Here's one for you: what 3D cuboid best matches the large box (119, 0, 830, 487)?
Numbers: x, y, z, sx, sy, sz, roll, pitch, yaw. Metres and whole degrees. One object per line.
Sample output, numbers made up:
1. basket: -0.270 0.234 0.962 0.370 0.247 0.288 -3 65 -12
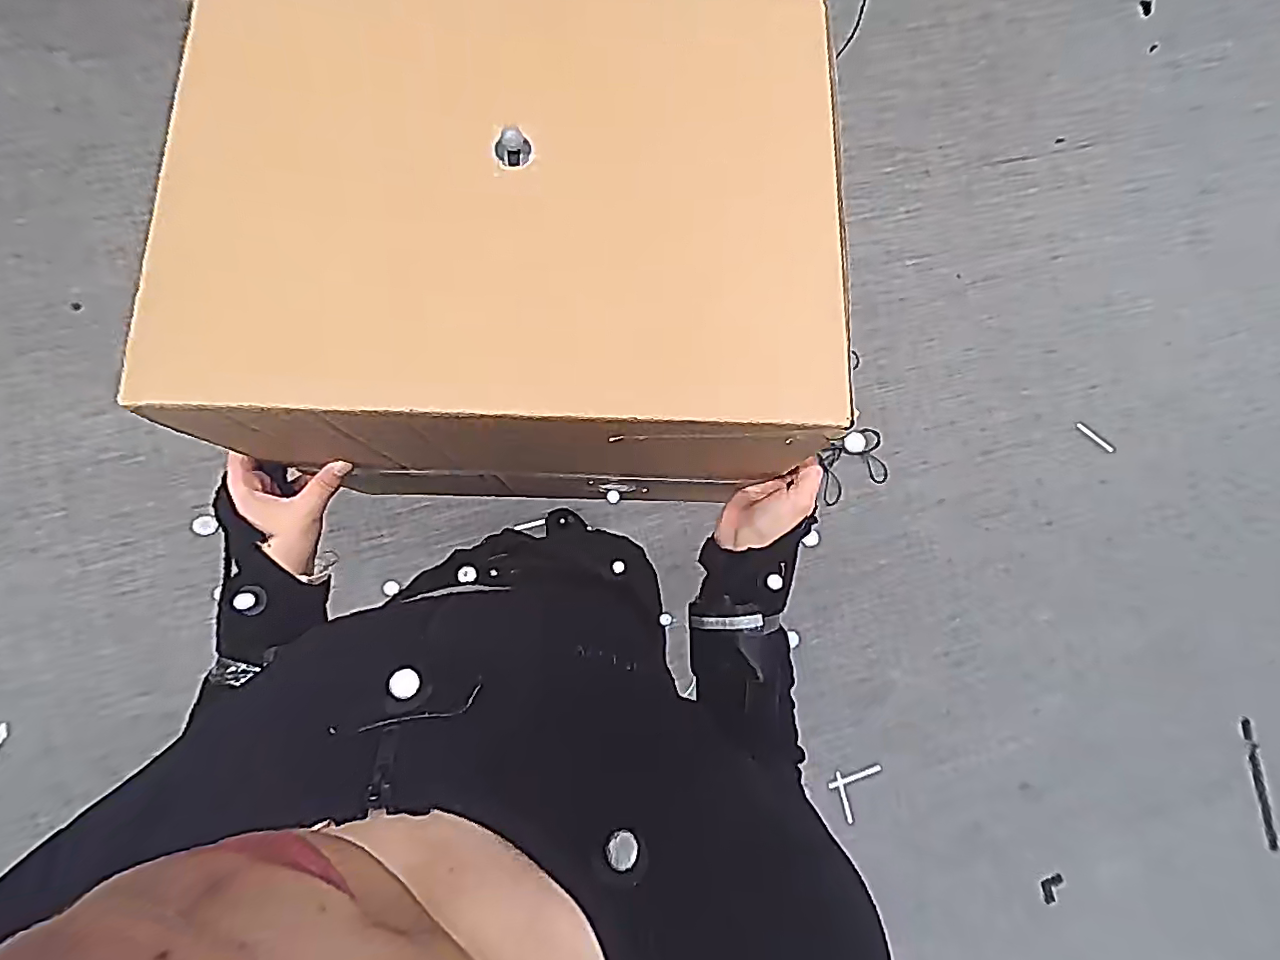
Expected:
1. large box: -0.097 -0.167 0.470 0.408 0.320 0.320 0 82 -2
